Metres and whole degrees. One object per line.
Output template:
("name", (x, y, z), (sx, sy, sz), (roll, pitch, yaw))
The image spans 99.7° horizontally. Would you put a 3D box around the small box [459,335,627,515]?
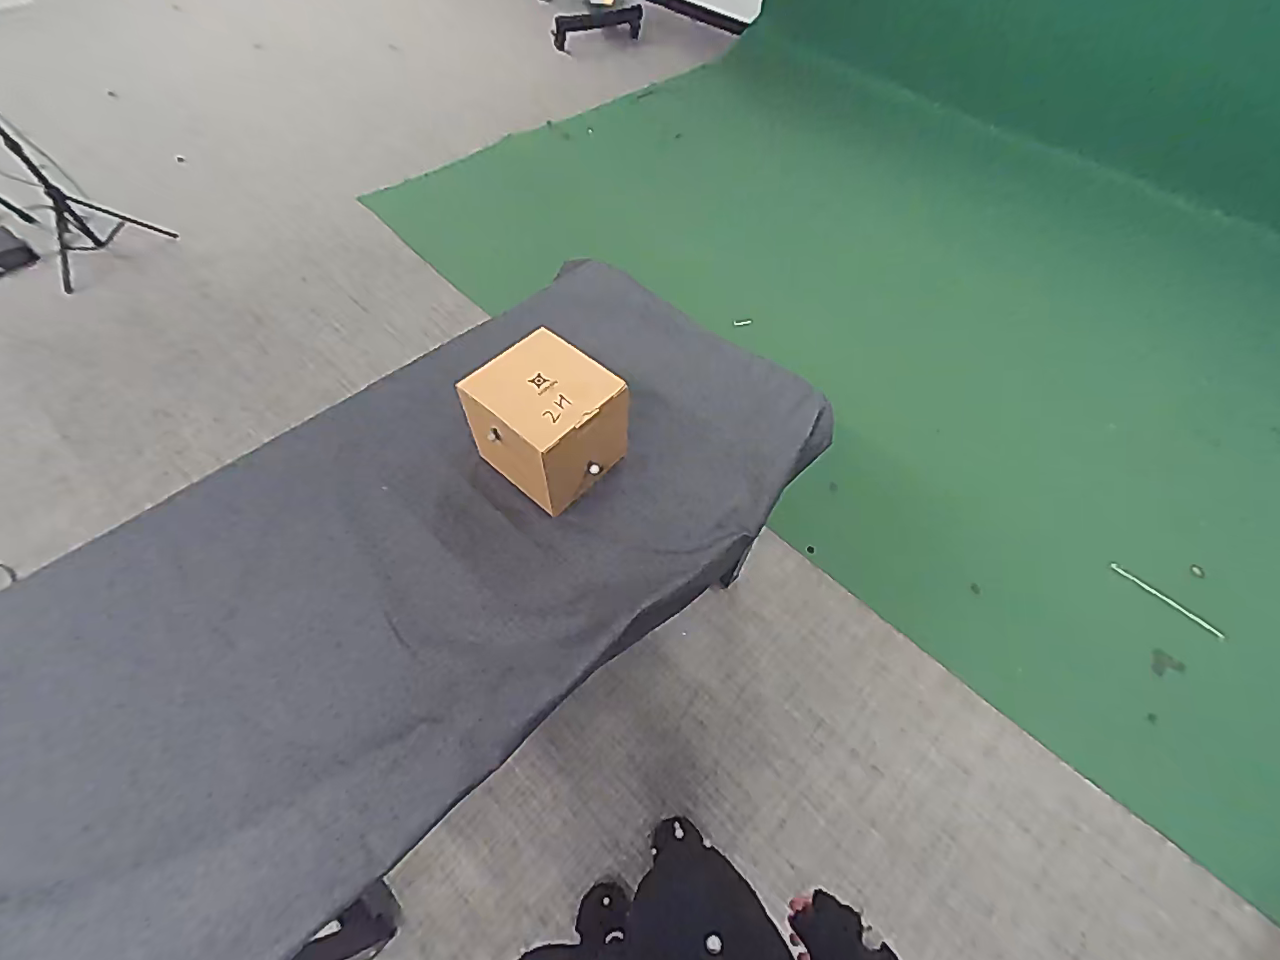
("small box", (-0.139, -0.079, 0.817), (0.179, 0.176, 0.168), (37, 62, 20))
